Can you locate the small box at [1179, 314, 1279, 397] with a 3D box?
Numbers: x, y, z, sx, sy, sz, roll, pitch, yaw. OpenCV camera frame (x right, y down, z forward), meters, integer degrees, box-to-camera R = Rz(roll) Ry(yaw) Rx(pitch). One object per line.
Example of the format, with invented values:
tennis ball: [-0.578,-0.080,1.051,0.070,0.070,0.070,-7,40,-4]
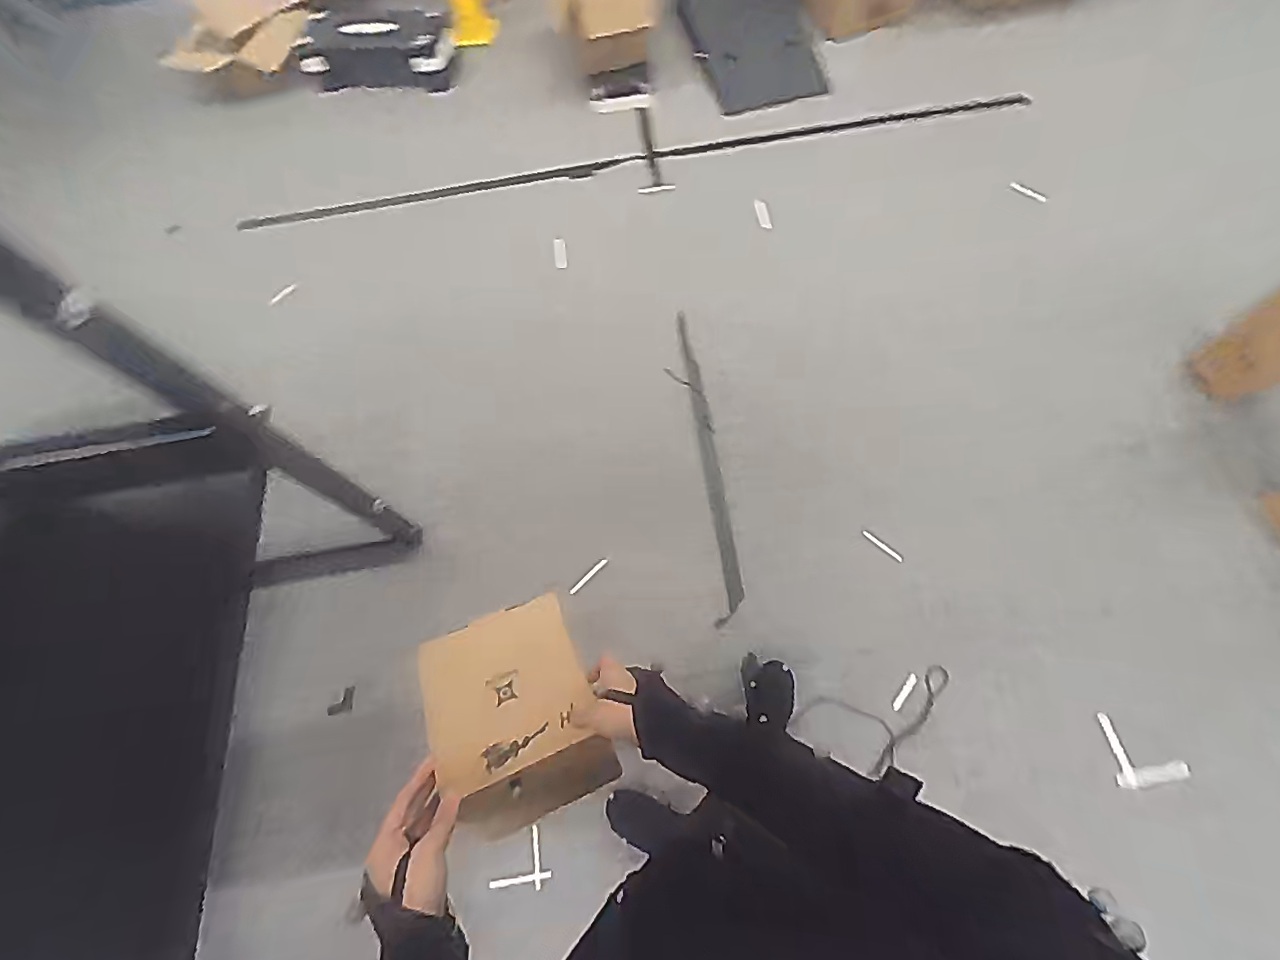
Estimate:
small box: [1.835,-0.375,1.651,0.179,0.176,0.168,-11,65,-1]
